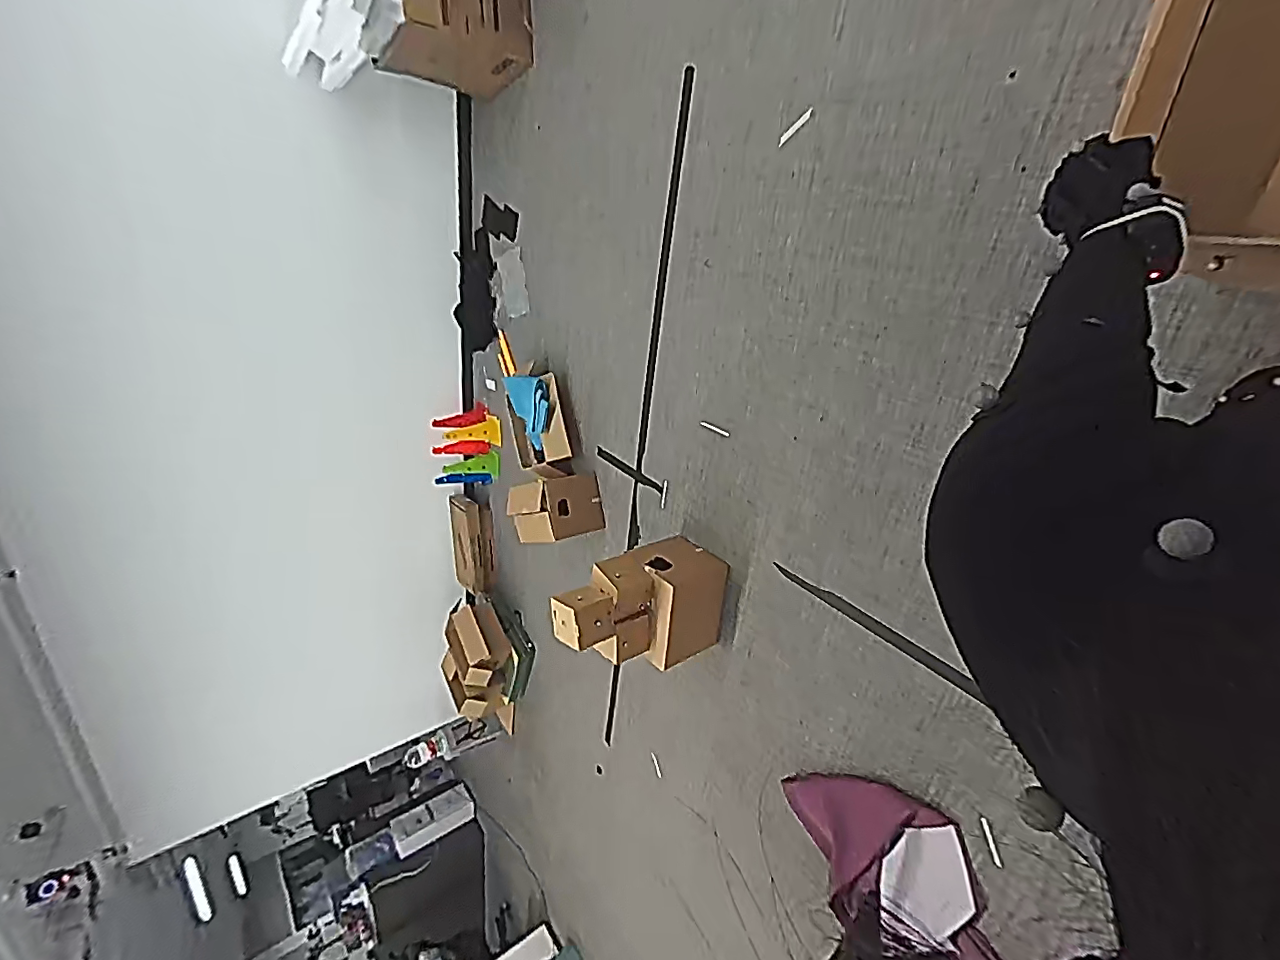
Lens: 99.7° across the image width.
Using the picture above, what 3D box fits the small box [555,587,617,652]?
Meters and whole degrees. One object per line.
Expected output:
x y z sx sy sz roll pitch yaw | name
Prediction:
-0.200 0.520 2.052 0.179 0.176 0.168 8 106 50 | small box

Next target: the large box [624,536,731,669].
0.153 0.497 2.264 0.320 0.320 0.408 26 119 45 | large box
